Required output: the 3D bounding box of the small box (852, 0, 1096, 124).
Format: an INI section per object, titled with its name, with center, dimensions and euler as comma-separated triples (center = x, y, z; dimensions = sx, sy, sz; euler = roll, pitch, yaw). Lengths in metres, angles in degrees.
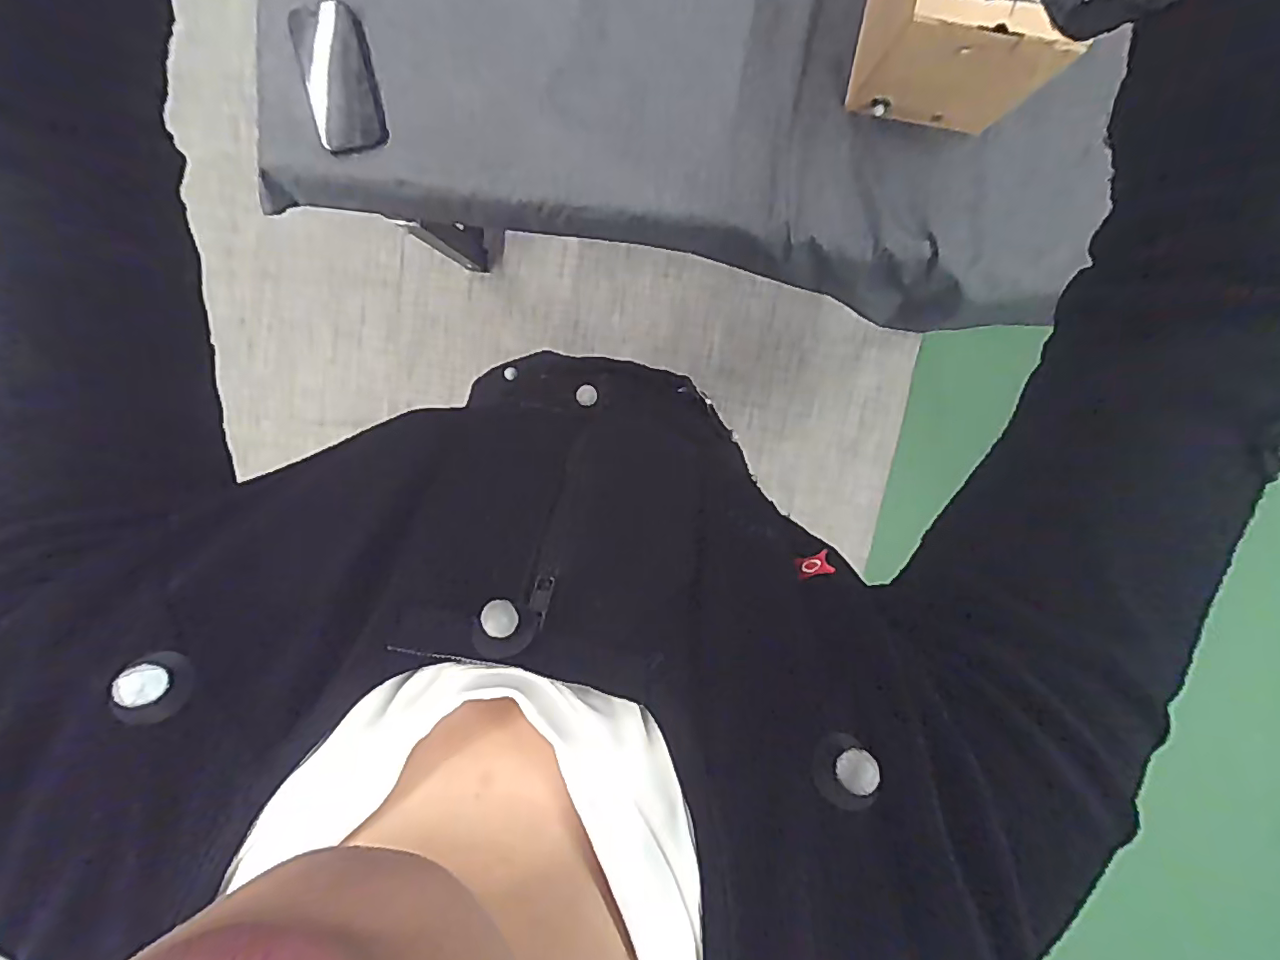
[small box]
center = 0.339, -0.505, 0.556
dimensions = 0.168, 0.176, 0.179
euler = 9, 99, -2
